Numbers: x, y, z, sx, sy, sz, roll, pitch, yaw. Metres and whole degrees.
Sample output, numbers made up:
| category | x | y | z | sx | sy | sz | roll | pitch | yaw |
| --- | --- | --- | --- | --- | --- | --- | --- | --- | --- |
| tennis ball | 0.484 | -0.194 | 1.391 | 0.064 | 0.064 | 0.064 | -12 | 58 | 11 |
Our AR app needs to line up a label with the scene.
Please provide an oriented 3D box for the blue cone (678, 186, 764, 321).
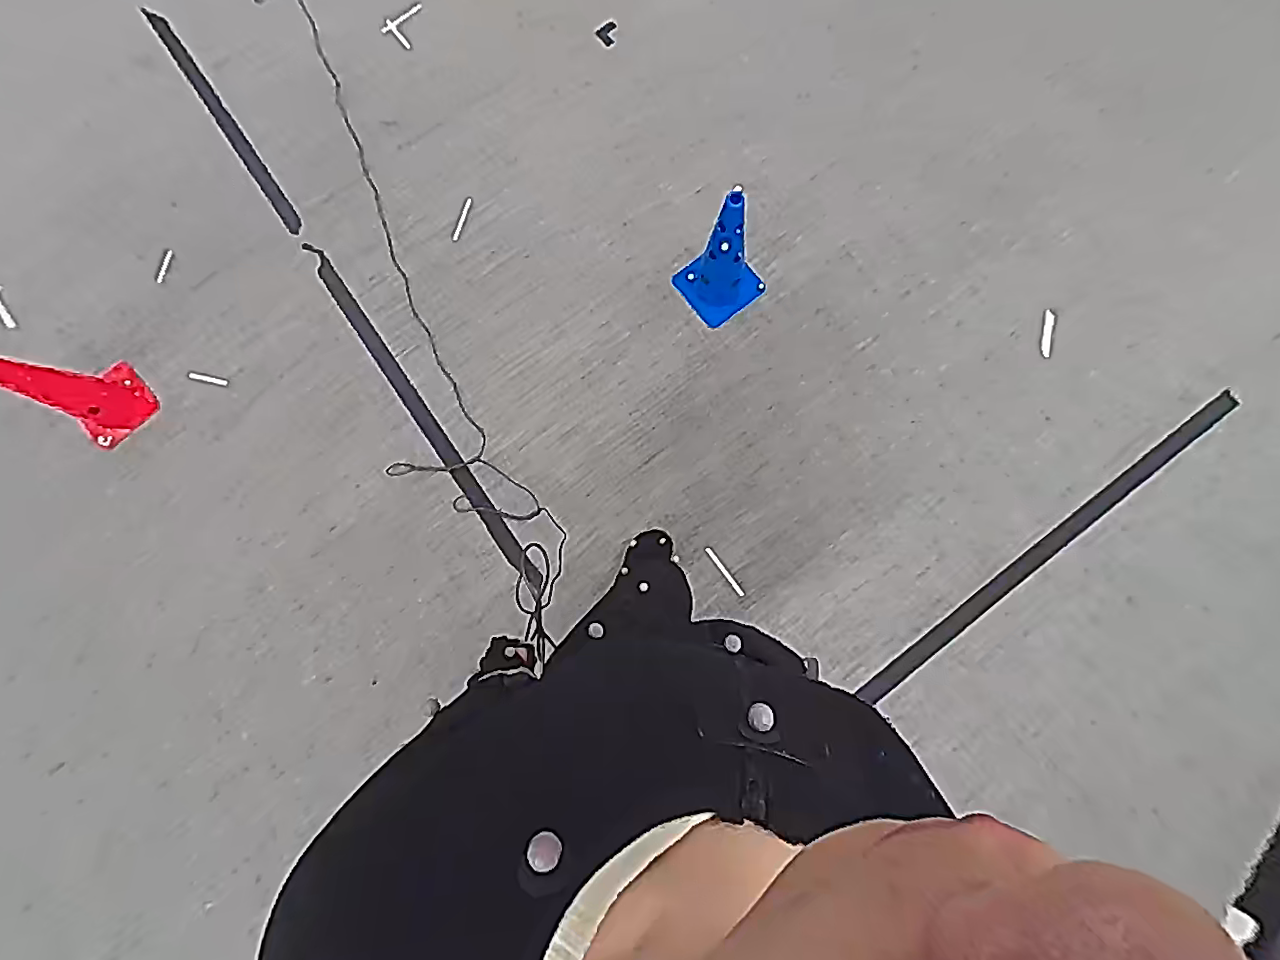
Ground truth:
| category | x | y | z | sx | sy | sz | roll | pitch | yaw |
| --- | --- | --- | --- | --- | --- | --- | --- | --- | --- |
| blue cone | 0.216 | -0.577 | 1.338 | 0.192 | 0.380 | 0.193 | -36 | 81 | -5 |

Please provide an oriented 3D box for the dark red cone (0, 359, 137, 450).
| category | x | y | z | sx | sy | sz | roll | pitch | yaw |
| --- | --- | --- | --- | --- | --- | --- | --- | --- | --- |
| dark red cone | -1.511 | -0.236 | 1.329 | 0.201 | 0.394 | 0.202 | -44 | 81 | -6 |
